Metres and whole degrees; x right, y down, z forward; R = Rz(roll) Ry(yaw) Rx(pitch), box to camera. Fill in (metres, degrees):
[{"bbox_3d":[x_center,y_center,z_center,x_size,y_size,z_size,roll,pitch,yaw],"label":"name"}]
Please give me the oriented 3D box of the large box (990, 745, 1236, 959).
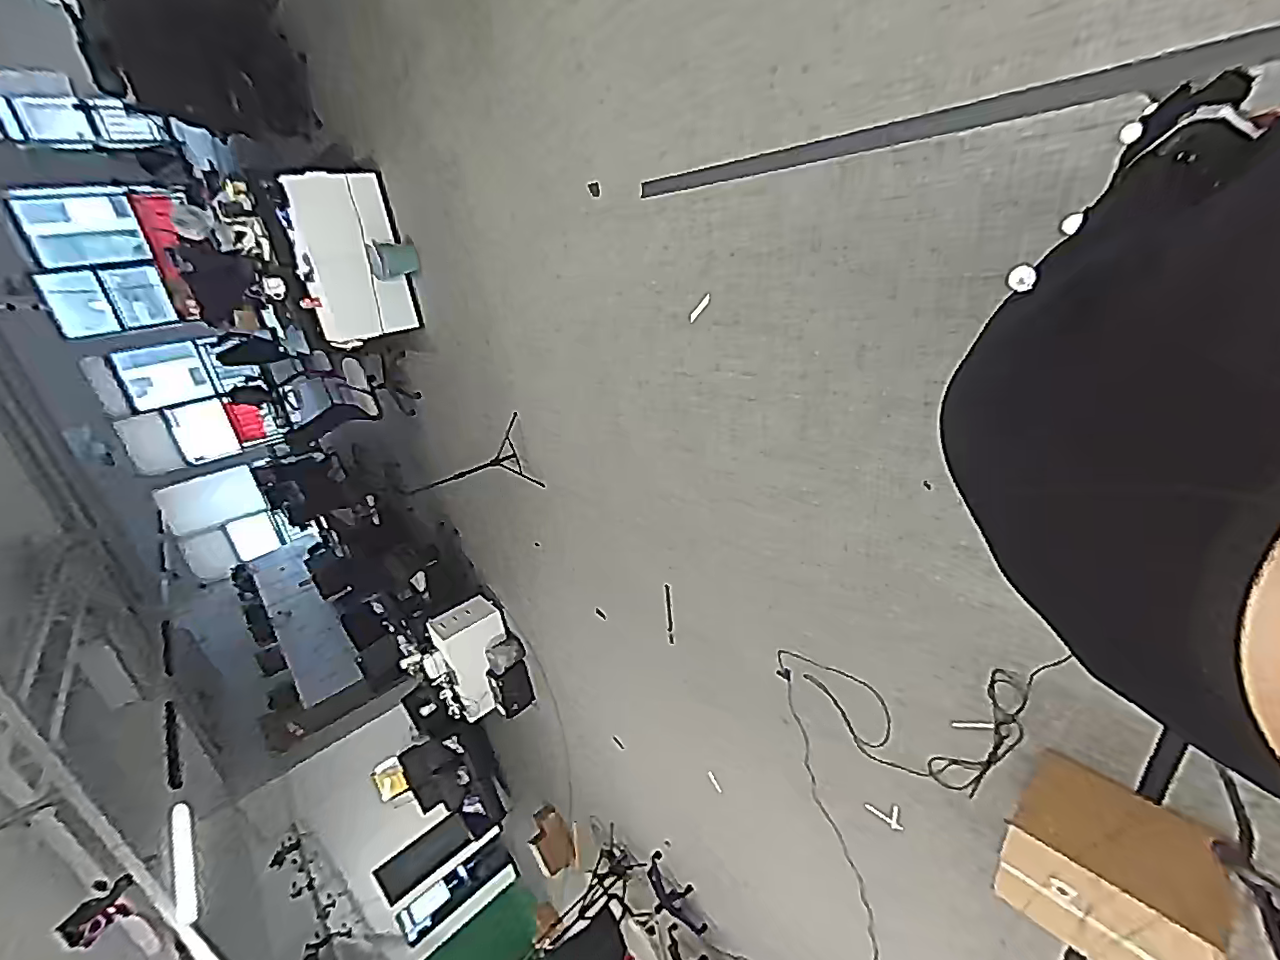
[{"bbox_3d":[1.221,1.007,1.423,0.408,0.320,0.320,21,127,46],"label":"large box"}]
